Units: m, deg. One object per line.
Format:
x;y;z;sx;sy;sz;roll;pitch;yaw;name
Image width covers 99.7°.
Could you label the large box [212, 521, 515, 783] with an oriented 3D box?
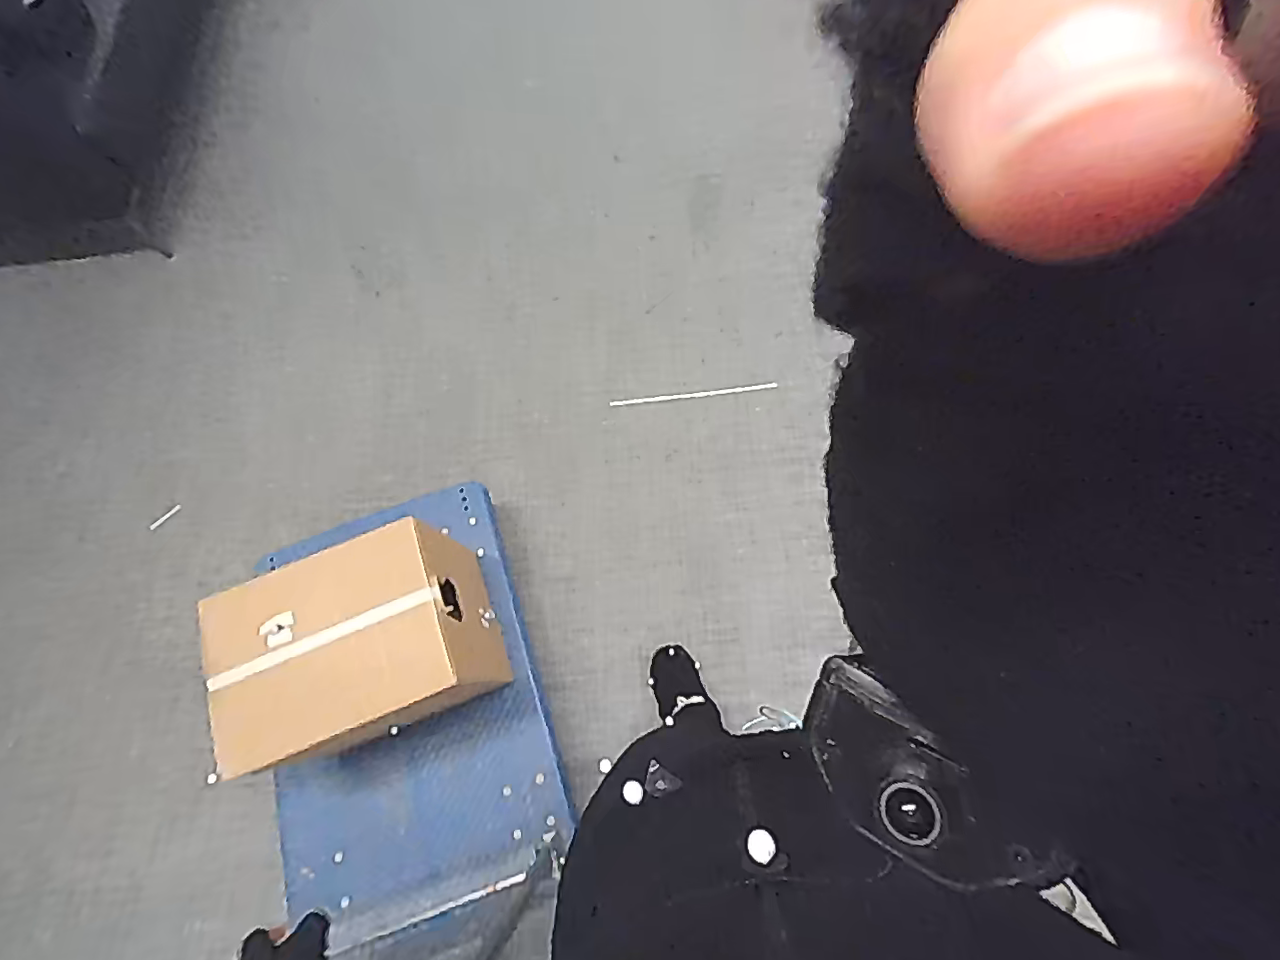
-0.519;0.329;1.072;0.408;0.320;0.320;-23;69;-2;large box
